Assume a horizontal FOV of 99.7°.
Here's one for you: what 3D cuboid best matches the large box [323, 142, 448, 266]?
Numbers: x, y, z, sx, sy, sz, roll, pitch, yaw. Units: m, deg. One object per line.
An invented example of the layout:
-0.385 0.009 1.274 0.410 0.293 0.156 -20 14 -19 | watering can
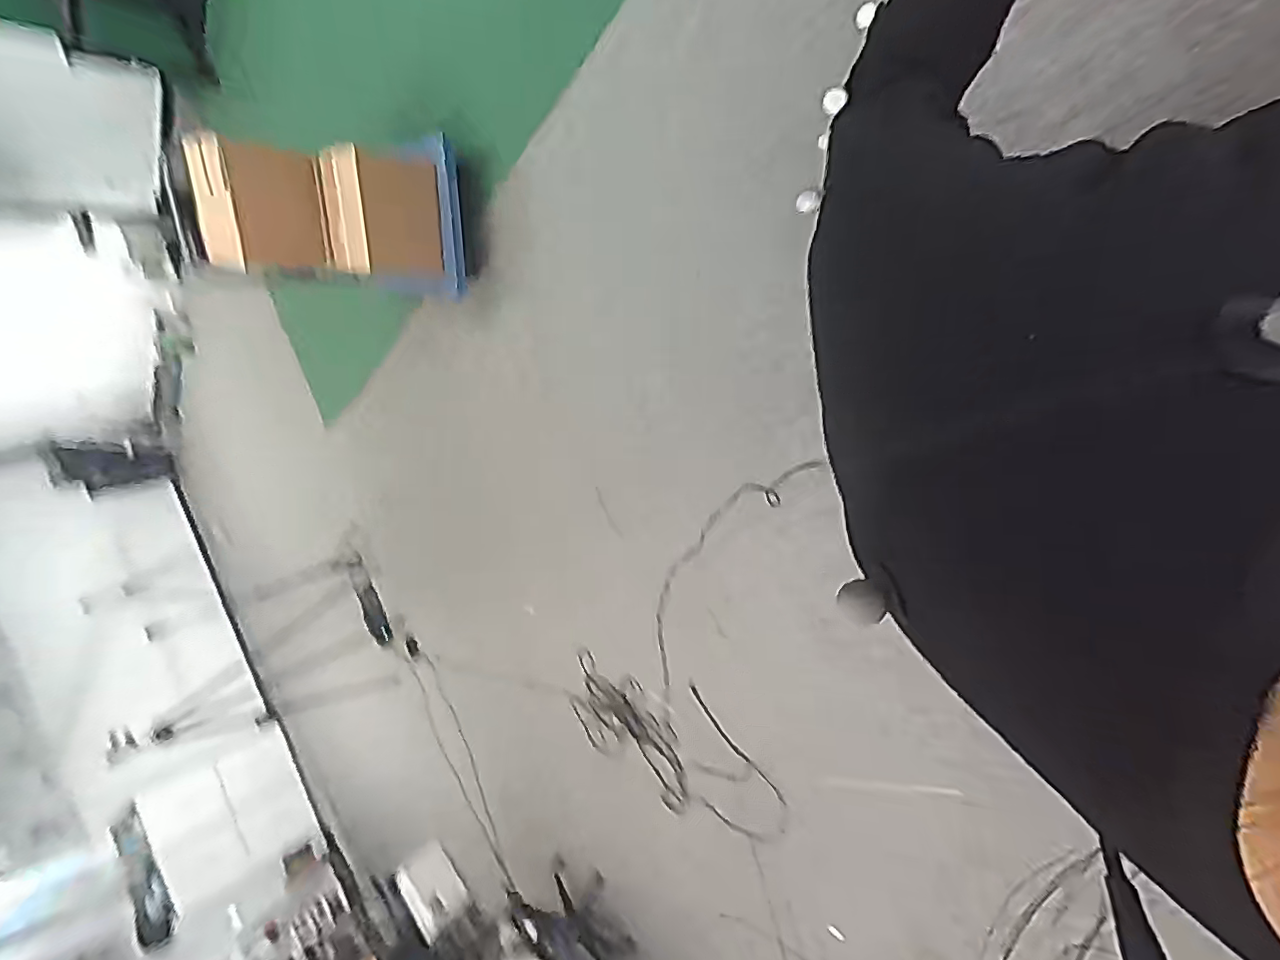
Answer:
-0.993 -1.072 2.136 0.320 0.320 0.408 21 120 36 | large box
